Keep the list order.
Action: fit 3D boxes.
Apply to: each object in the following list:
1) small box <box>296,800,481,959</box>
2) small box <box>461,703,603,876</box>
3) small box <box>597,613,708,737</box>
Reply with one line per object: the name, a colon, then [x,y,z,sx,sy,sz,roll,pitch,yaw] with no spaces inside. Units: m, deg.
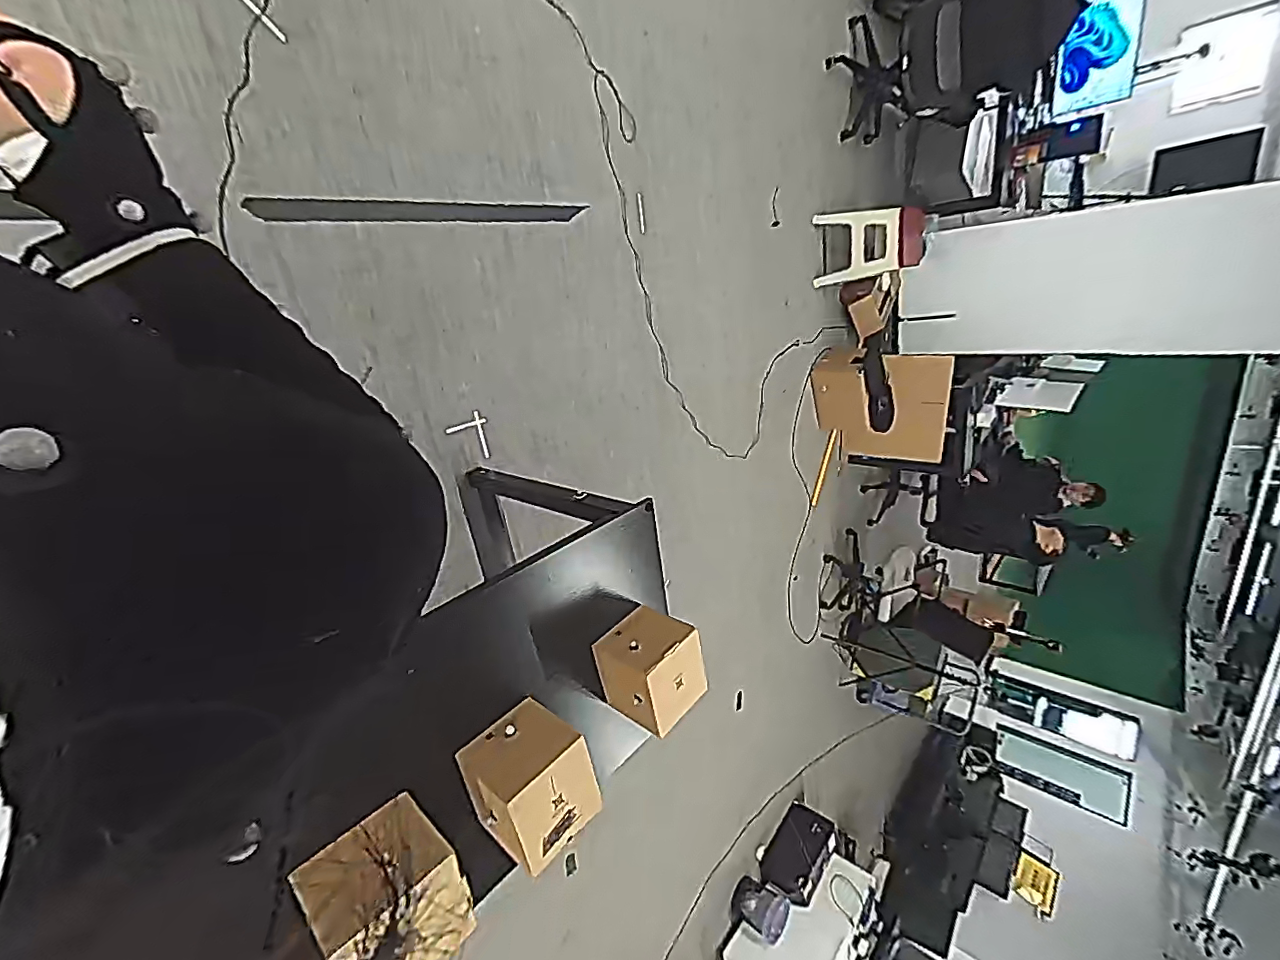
small box: [-0.370,0.628,0.804,0.179,0.176,0.168,-26,117,-43]
small box: [-0.194,0.545,0.977,0.168,0.176,0.179,-29,118,-41]
small box: [0.025,0.414,1.190,0.168,0.176,0.179,-31,121,-38]
